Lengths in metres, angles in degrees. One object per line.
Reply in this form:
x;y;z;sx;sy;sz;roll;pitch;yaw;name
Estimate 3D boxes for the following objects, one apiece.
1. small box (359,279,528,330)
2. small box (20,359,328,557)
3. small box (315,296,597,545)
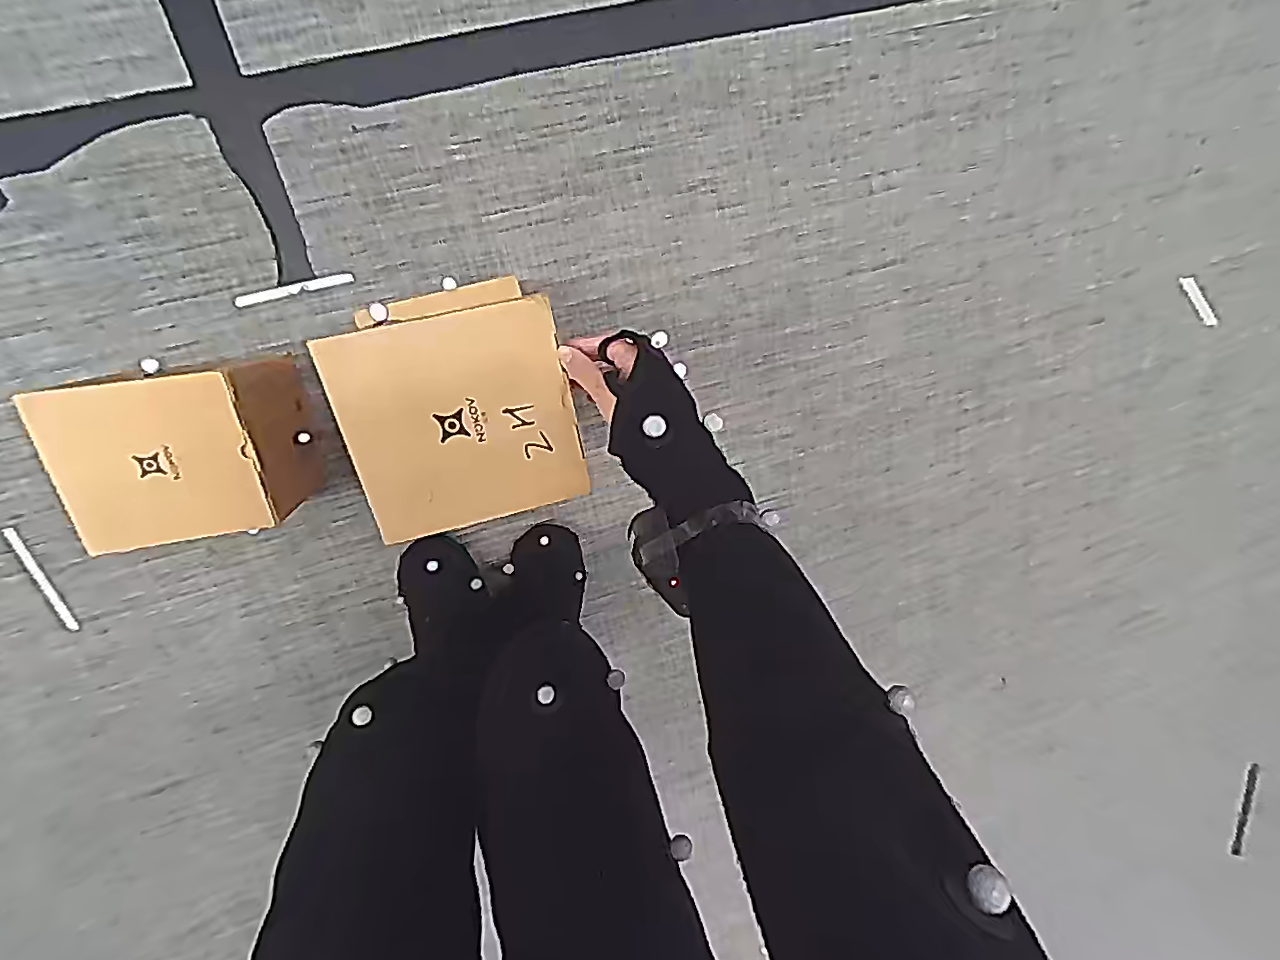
-0.196;-0.128;0.637;0.168;0.176;0.179;-17;110;-9;small box
-0.482;-0.036;0.598;0.179;0.176;0.168;-10;110;-10;small box
-0.150;-0.065;0.491;0.179;0.176;0.168;-15;111;-10;small box
